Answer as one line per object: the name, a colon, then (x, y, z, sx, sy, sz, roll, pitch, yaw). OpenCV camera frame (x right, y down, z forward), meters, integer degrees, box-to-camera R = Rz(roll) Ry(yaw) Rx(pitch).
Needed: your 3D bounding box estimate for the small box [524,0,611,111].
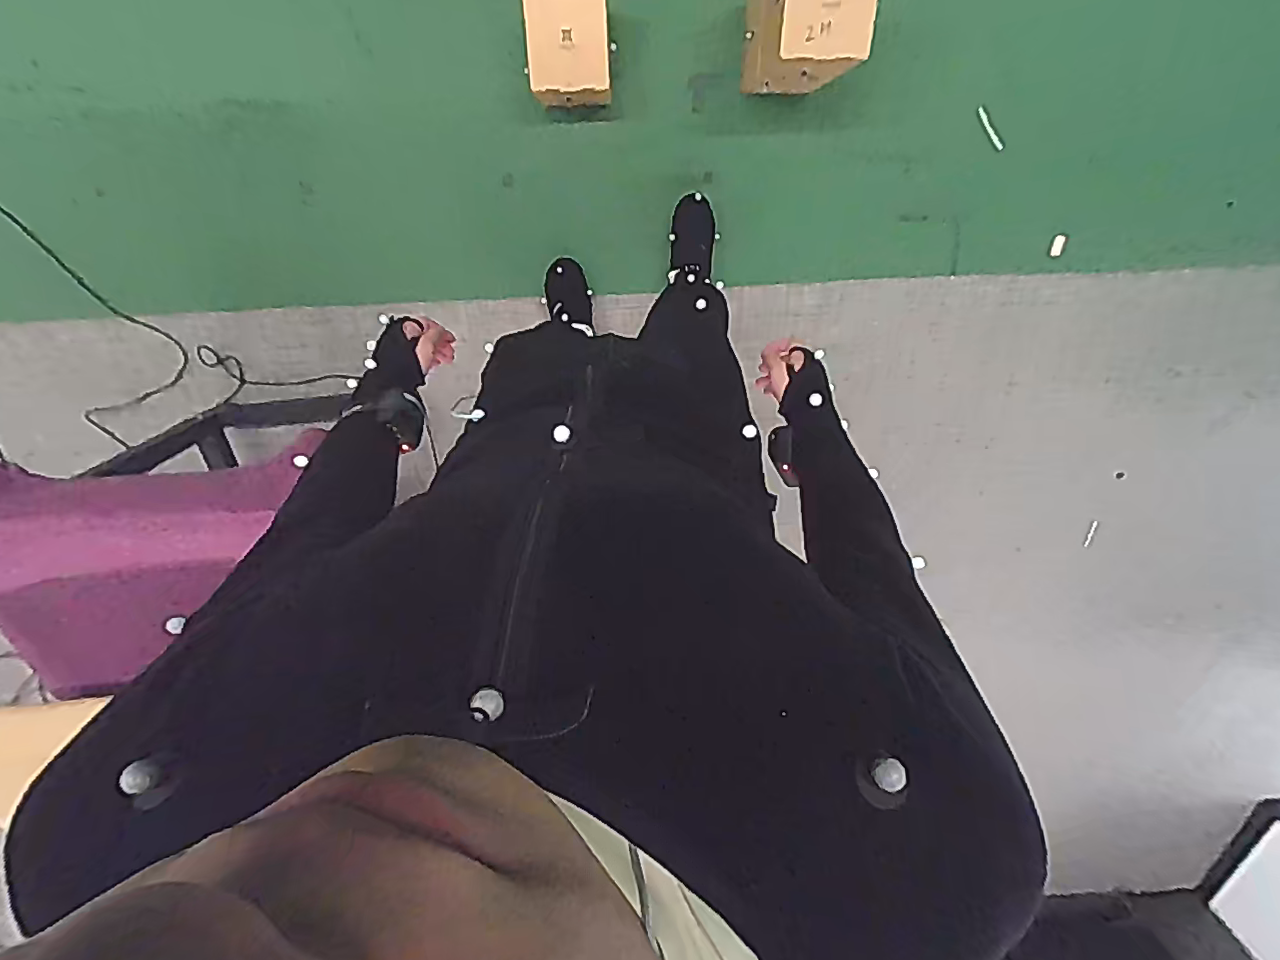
small box: (-0.149, -0.913, 1.163, 0.168, 0.176, 0.179, -3, 117, -1)

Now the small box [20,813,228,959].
small box: (-0.866, 0.708, 0.938, 0.179, 0.176, 0.168, -6, 115, 1)

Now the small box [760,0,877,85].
small box: (0.330, -0.871, 1.019, 0.168, 0.176, 0.179, -1, 117, -2)
